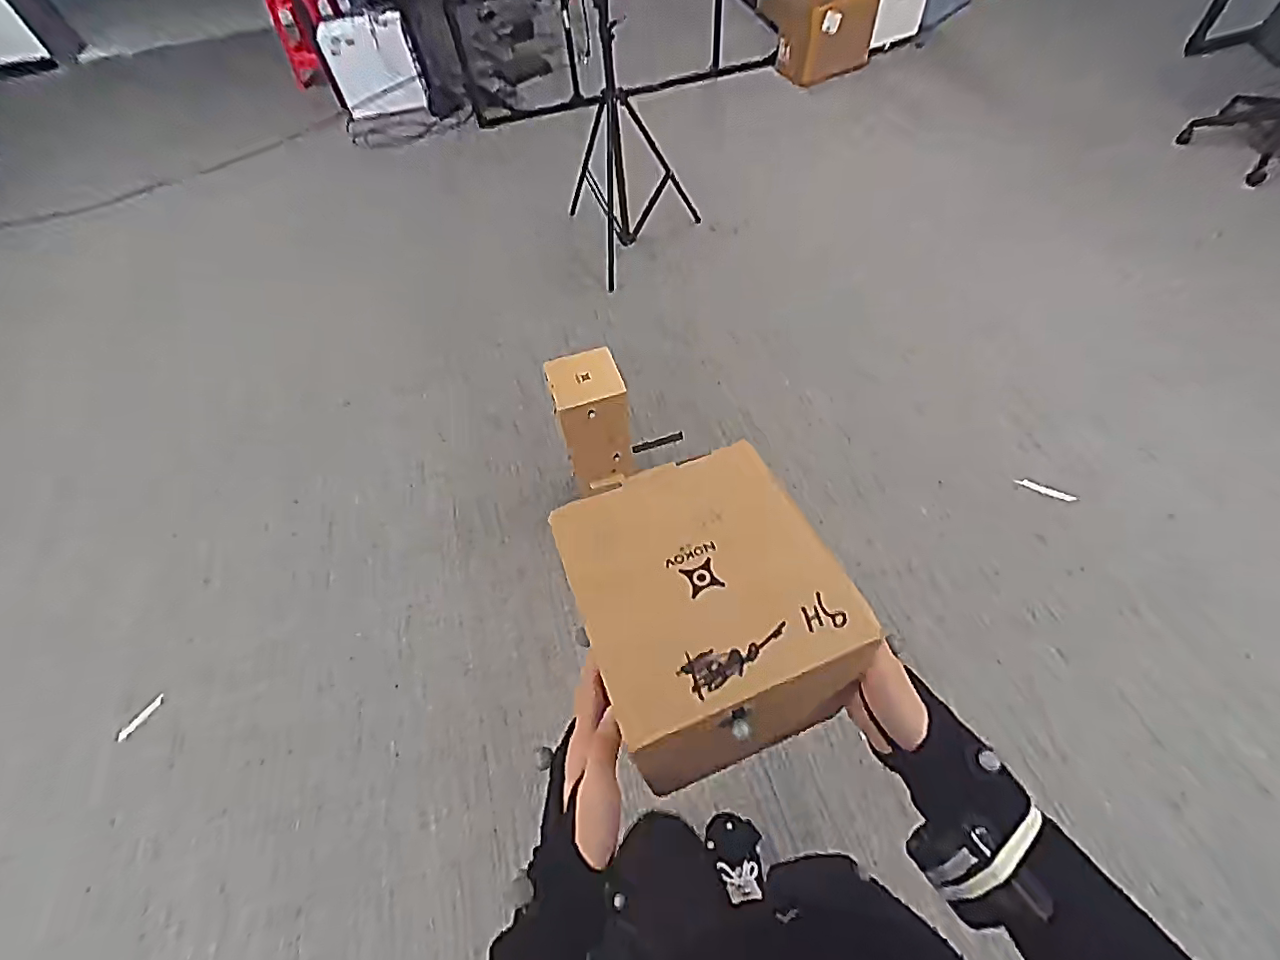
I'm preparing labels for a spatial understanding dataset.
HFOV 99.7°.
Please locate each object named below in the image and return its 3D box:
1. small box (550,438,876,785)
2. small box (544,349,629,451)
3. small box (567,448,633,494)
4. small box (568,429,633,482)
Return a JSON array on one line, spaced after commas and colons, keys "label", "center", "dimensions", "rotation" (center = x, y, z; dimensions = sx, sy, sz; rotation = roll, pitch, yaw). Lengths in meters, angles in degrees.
[{"label": "small box", "center": [0.045, 0.103, 0.422], "dimensions": [0.168, 0.176, 0.179], "rotation": [-21, 51, -8]}, {"label": "small box", "center": [-0.132, -0.203, 1.389], "dimensions": [0.179, 0.176, 0.168], "rotation": [-18, 59, -7]}, {"label": "small box", "center": [-0.114, -0.027, 1.661], "dimensions": [0.168, 0.176, 0.179], "rotation": [-17, 58, -6]}, {"label": "small box", "center": [-0.124, -0.114, 1.525], "dimensions": [0.168, 0.176, 0.179], "rotation": [-17, 57, -7]}]
